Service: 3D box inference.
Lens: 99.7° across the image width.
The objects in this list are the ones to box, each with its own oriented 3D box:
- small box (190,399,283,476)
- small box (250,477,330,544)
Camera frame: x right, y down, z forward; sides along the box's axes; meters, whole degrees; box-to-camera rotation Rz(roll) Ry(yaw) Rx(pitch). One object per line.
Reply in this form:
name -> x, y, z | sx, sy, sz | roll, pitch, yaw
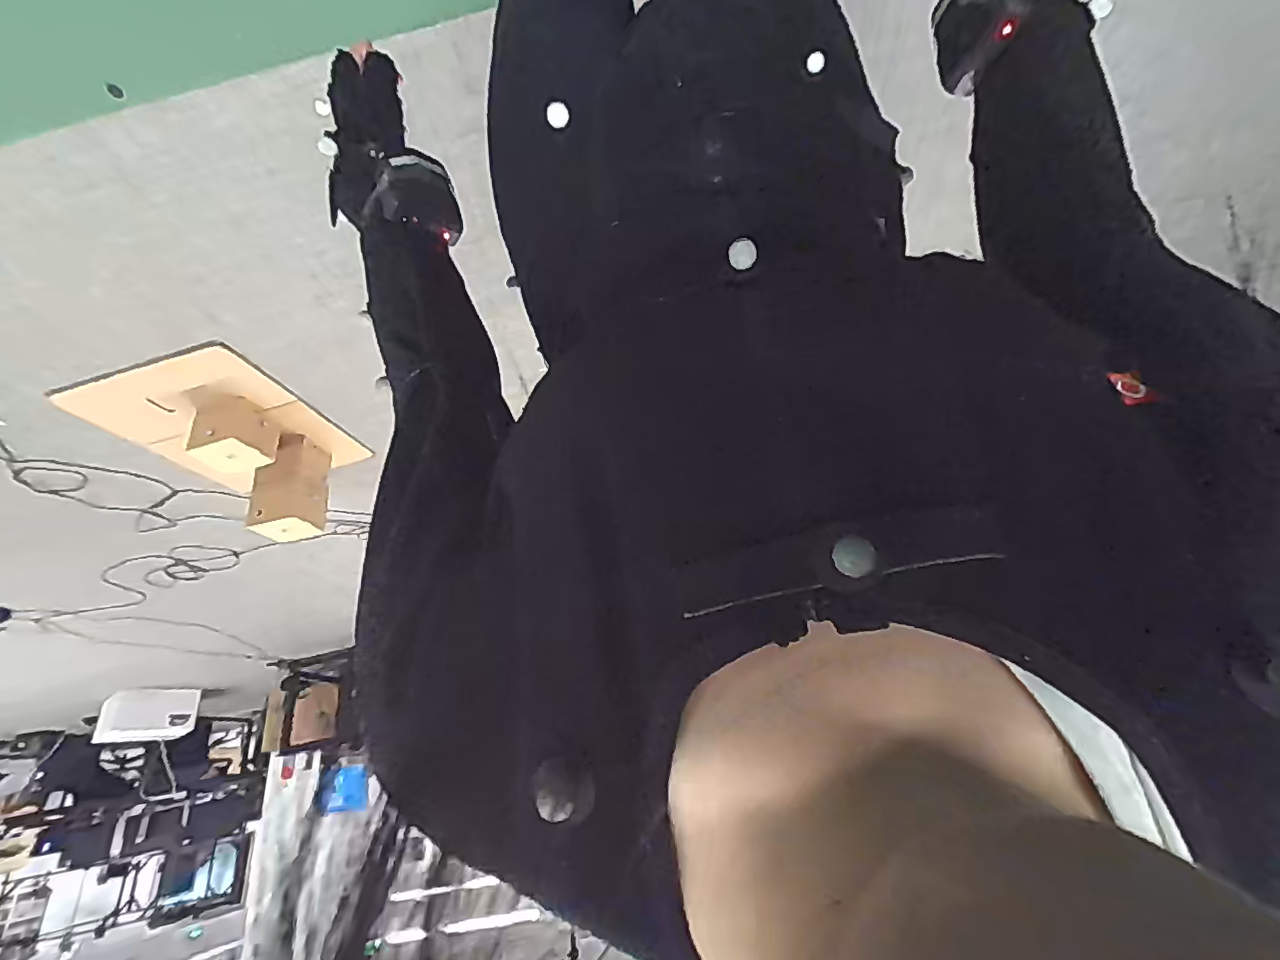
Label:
small box -> -1.325, -0.141, 1.789 | 0.179, 0.176, 0.168 | -16, 151, 8
small box -> -1.237, 0.108, 1.926 | 0.179, 0.176, 0.168 | -13, 153, 4
